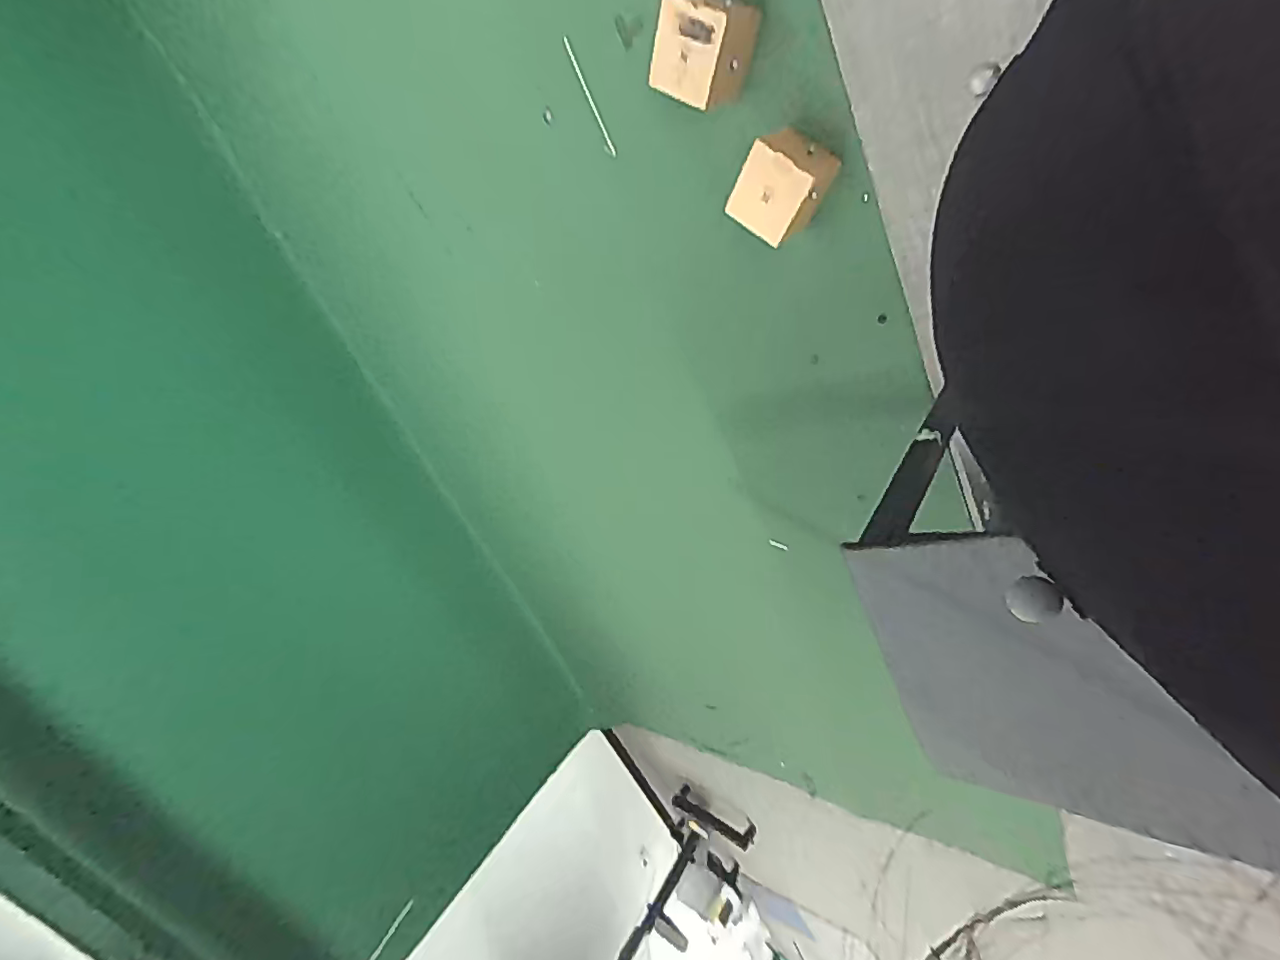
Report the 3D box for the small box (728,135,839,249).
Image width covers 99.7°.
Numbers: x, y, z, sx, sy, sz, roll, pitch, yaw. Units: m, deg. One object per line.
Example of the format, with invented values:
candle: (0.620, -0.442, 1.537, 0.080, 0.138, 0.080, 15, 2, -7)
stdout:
small box: (0.349, -0.700, 1.309, 0.168, 0.176, 0.179, 40, 141, 10)
